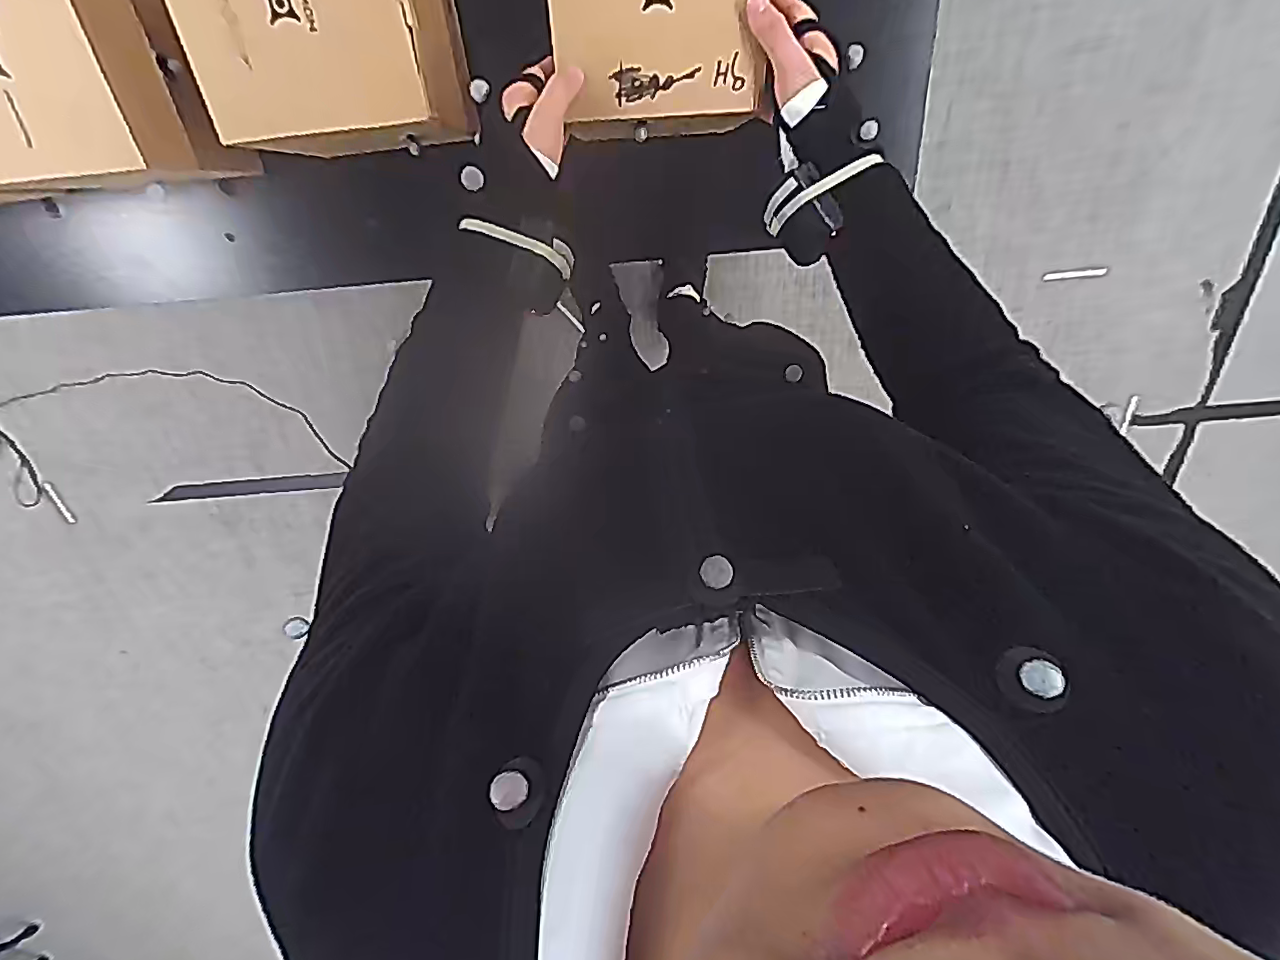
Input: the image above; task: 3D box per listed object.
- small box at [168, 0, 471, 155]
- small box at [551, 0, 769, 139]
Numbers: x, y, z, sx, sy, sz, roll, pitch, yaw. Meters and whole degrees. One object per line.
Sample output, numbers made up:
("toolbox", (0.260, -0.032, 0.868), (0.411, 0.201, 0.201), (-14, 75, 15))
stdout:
("small box", (-0.260, -0.390, 0.468), (0.179, 0.176, 0.168), (-6, 117, 3))
("small box", (0.012, -0.407, 0.463), (0.168, 0.176, 0.179), (-3, 118, 1))
